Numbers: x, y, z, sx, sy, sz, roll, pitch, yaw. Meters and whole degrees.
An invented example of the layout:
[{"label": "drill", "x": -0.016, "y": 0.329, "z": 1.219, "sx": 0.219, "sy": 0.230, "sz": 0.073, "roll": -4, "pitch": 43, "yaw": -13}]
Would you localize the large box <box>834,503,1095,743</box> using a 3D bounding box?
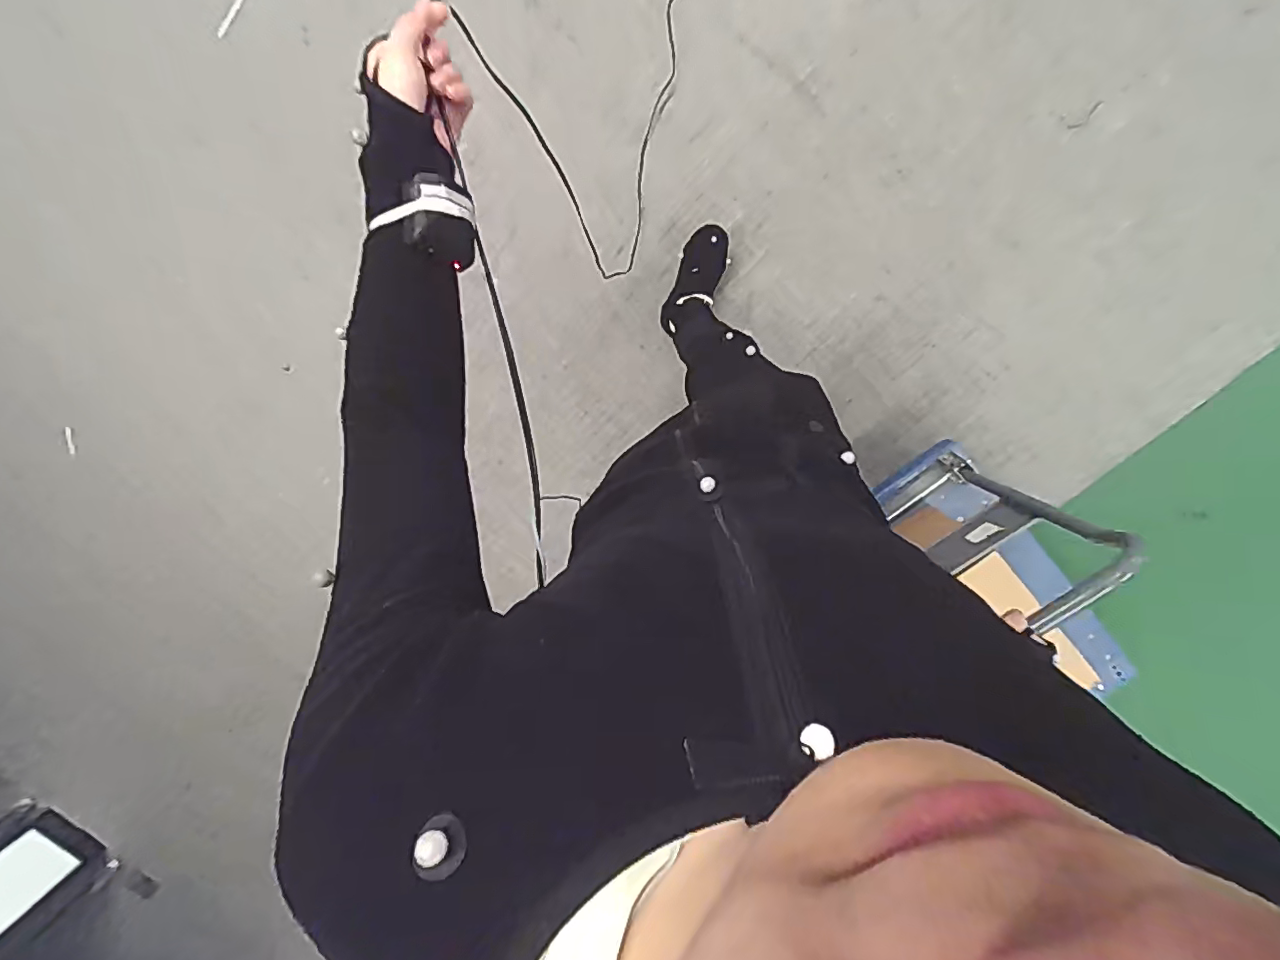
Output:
[{"label": "large box", "x": 0.755, "y": 0.329, "z": 1.323, "sx": 0.320, "sy": 0.320, "sz": 0.408, "roll": -41, "pitch": 98, "yaw": 14}]
